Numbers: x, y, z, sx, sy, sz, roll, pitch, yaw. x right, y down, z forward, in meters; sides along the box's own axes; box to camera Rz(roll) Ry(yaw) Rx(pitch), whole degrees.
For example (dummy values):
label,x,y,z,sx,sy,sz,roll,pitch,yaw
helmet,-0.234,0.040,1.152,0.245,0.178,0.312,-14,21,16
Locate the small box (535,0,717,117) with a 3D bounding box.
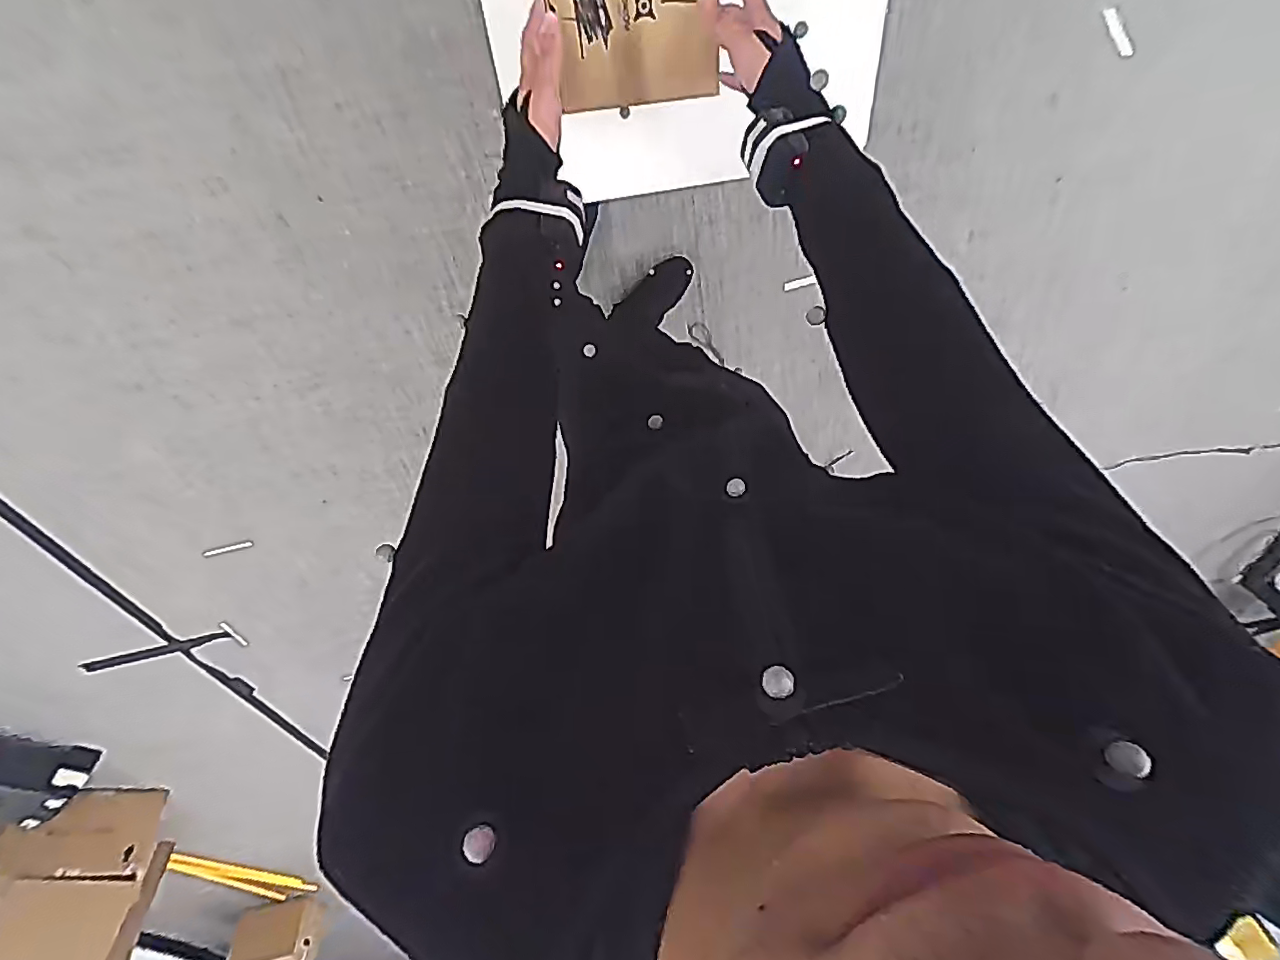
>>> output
label,x,y,z,sx,sy,sz,roll,pitch,yaw
small box,-0.023,-0.511,0.596,0.179,0.176,0.168,-11,130,-6
